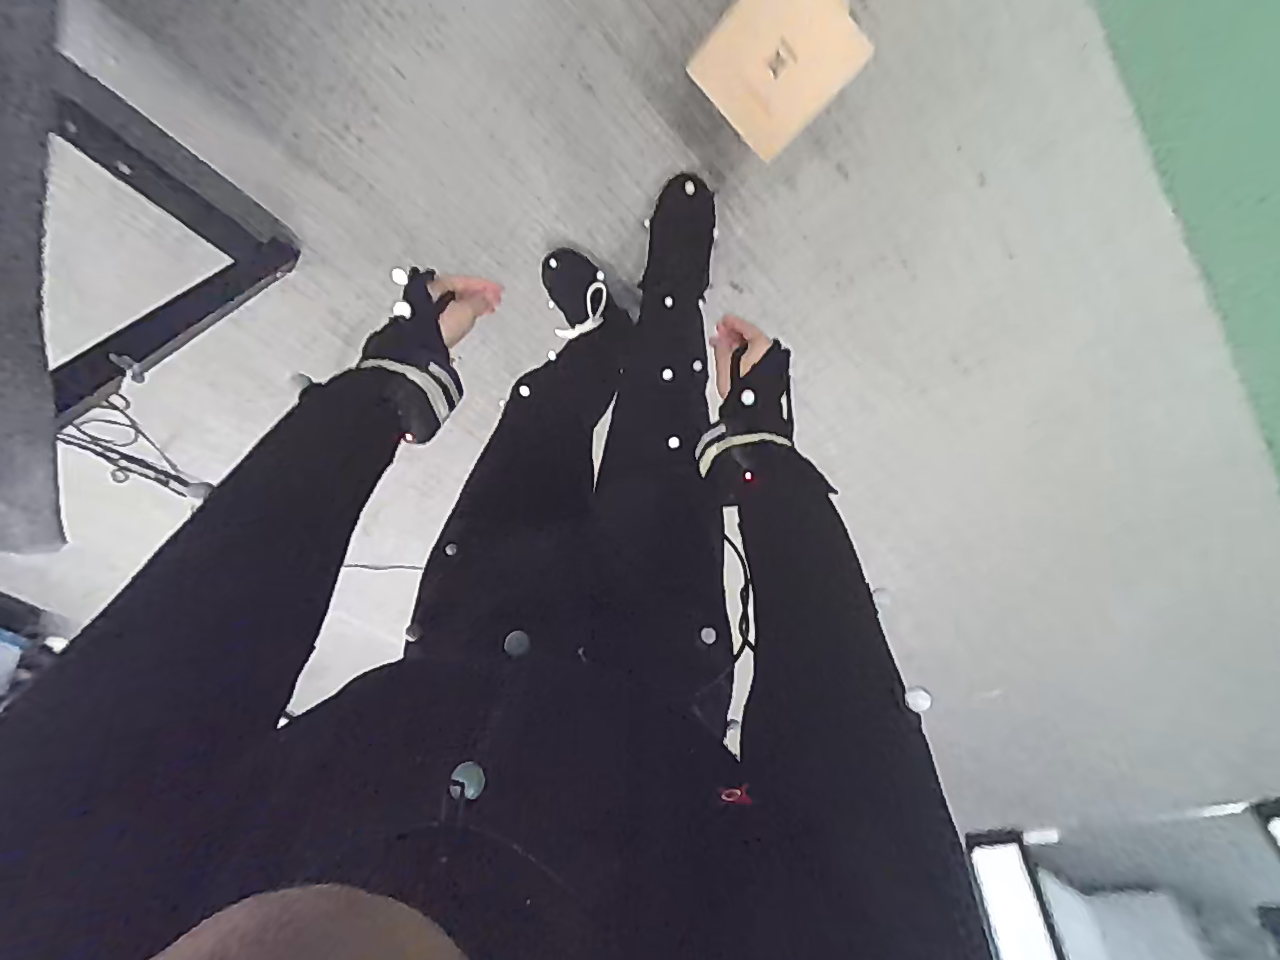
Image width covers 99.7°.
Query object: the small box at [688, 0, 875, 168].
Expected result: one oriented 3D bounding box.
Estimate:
[{"bbox_3d":[0.184,-0.578,0.741,0.168,0.176,0.179,36,128,-22],"label":"small box"}]
